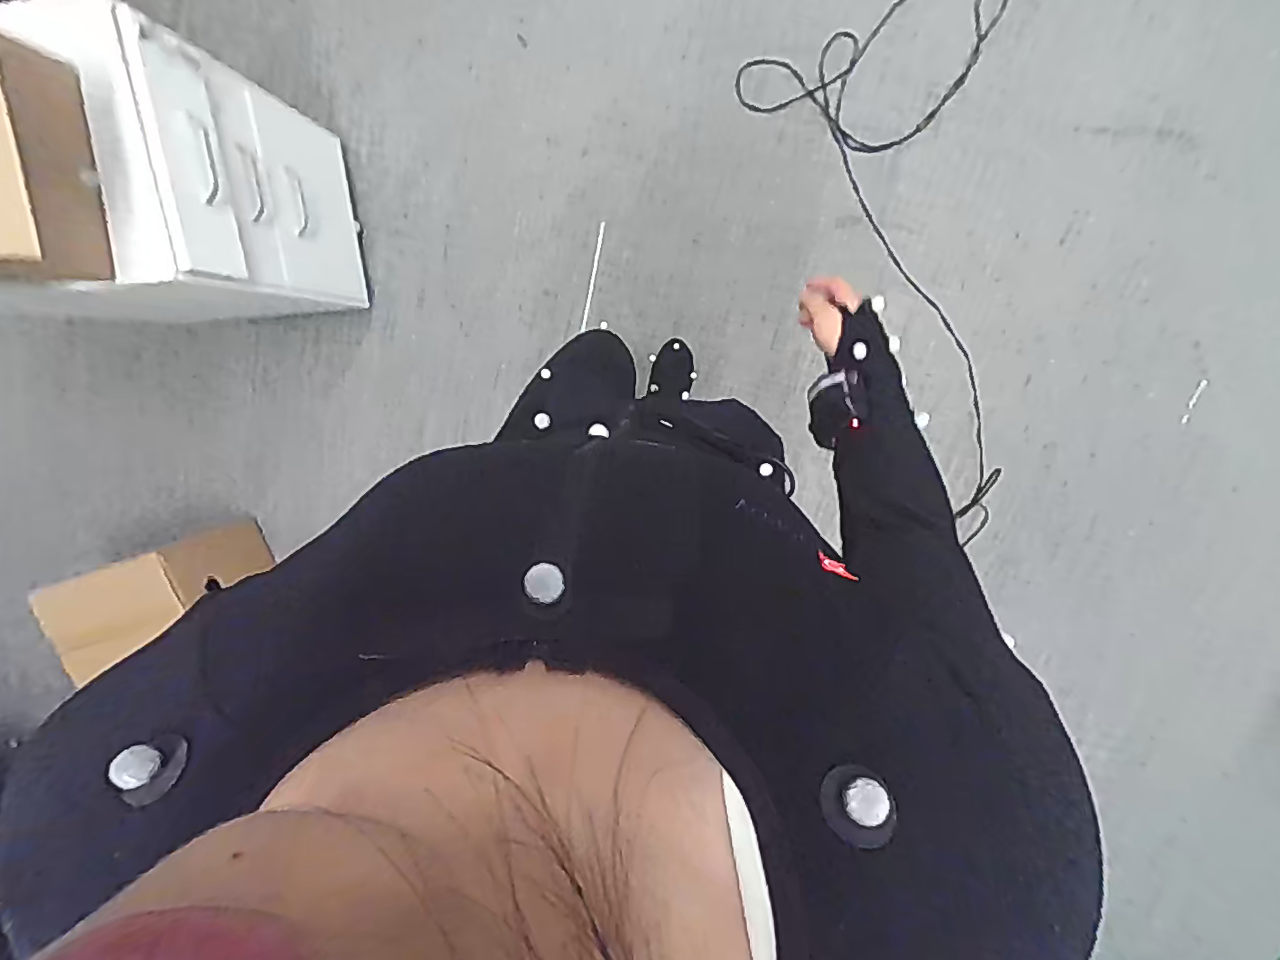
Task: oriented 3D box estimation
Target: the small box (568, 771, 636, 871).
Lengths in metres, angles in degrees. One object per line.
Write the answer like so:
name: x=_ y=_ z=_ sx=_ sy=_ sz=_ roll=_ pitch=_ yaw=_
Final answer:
small box: x=-0.112 y=1.050 z=1.673 sx=0.168 sy=0.176 sz=0.179 roll=14 pitch=103 yaw=0
